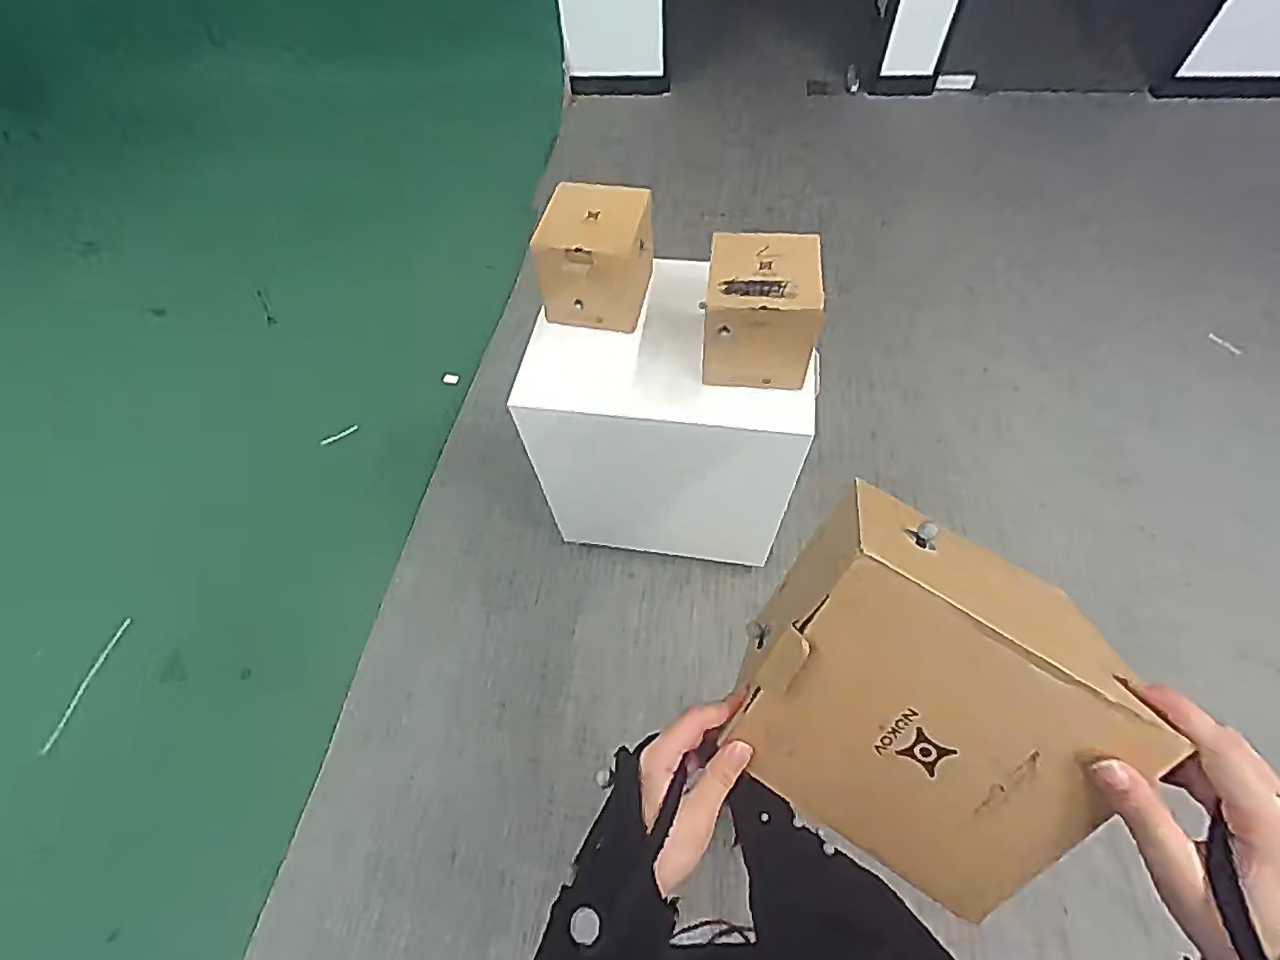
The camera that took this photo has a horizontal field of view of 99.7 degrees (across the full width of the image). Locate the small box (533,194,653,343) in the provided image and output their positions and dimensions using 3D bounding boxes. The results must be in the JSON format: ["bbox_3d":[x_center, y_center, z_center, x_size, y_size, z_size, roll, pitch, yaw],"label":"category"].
[{"bbox_3d":[-0.073,-0.375,0.965,0.168,0.176,0.179,10,61,8],"label":"small box"}]

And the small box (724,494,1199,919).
[{"bbox_3d":[0.185,0.126,0.371,0.179,0.168,0.176,30,22,10],"label":"small box"}]
